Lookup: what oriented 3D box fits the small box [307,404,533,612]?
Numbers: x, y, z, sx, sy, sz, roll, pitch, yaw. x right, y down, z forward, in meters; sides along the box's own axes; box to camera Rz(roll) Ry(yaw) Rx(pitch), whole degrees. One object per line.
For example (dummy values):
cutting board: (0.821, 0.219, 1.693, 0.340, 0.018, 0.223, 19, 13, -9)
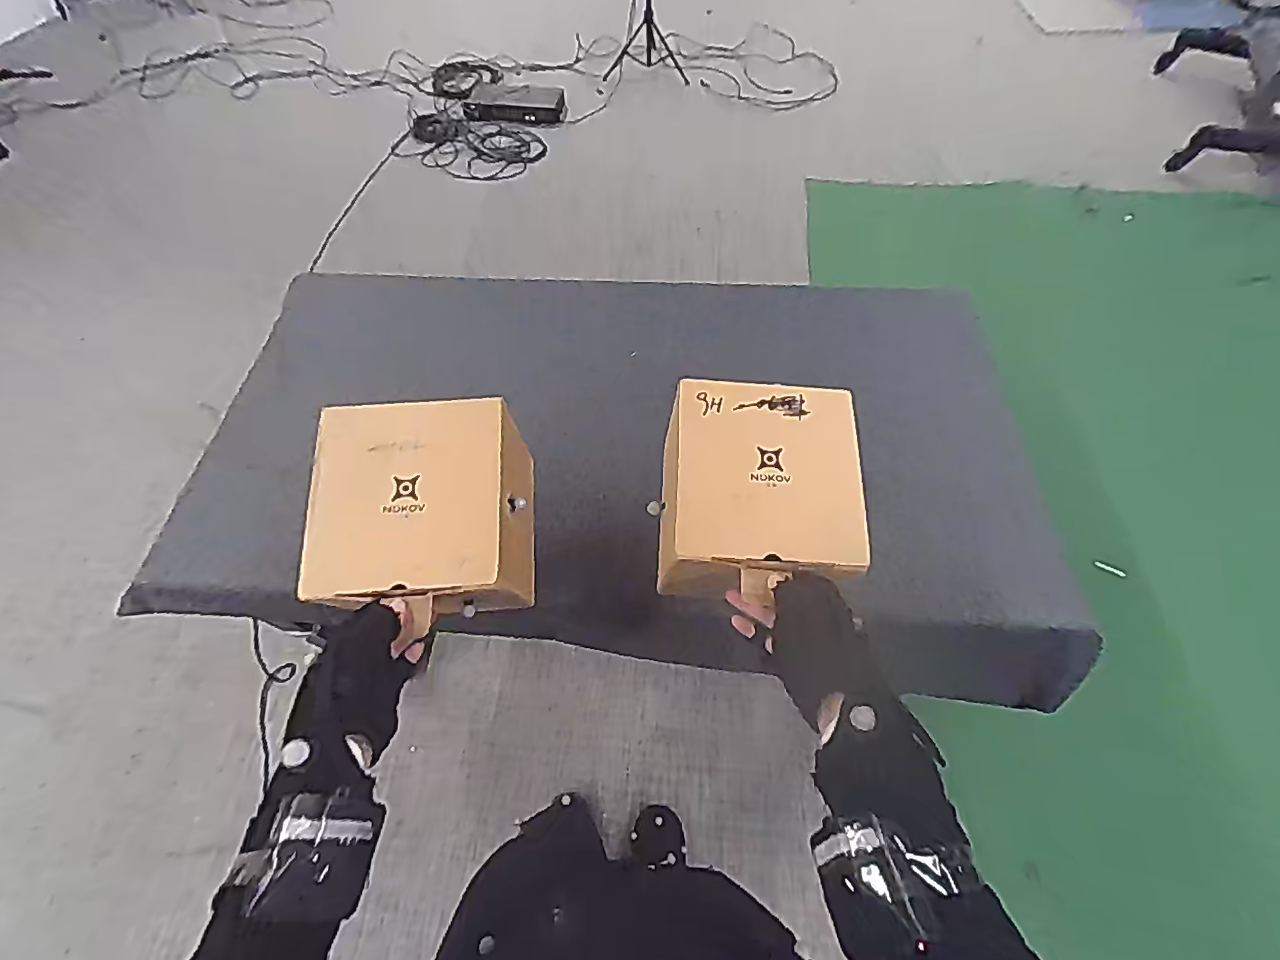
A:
small box: (-0.207, 0.041, 0.560, 0.168, 0.176, 0.179, -5, 71, -2)
